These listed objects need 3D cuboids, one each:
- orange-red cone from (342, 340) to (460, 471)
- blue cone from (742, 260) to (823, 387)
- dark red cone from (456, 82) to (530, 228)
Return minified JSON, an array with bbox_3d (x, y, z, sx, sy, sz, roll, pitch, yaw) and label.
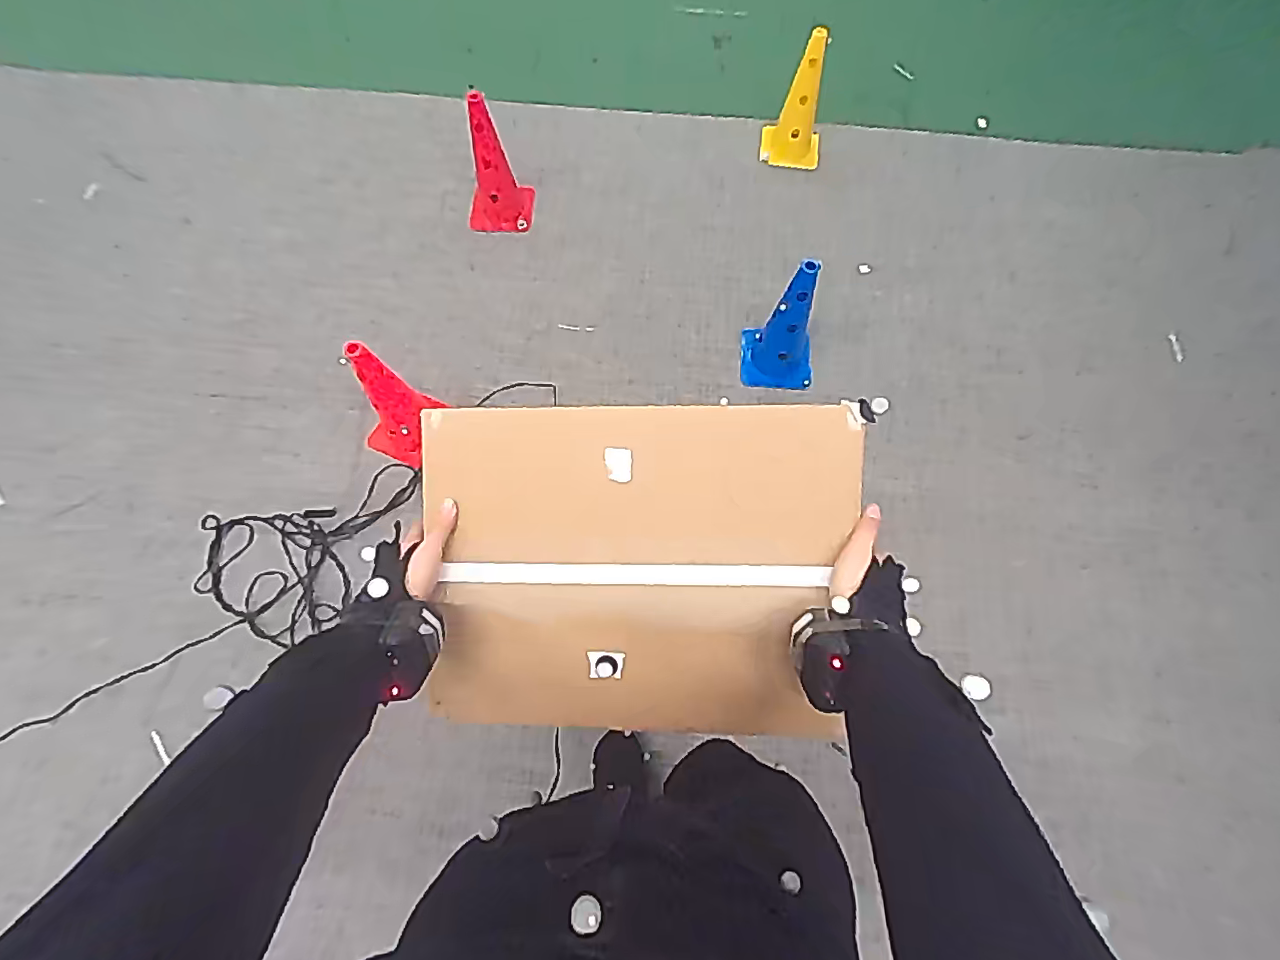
[{"bbox_3d":[-0.611,-0.206,1.299,0.199,0.360,0.198,23,67,12],"label":"orange-red cone"},{"bbox_3d":[0.390,-0.416,1.404,0.192,0.380,0.193,6,66,2],"label":"blue cone"},{"bbox_3d":[-0.466,-0.965,1.616,0.202,0.394,0.201,-2,63,0],"label":"dark red cone"}]
